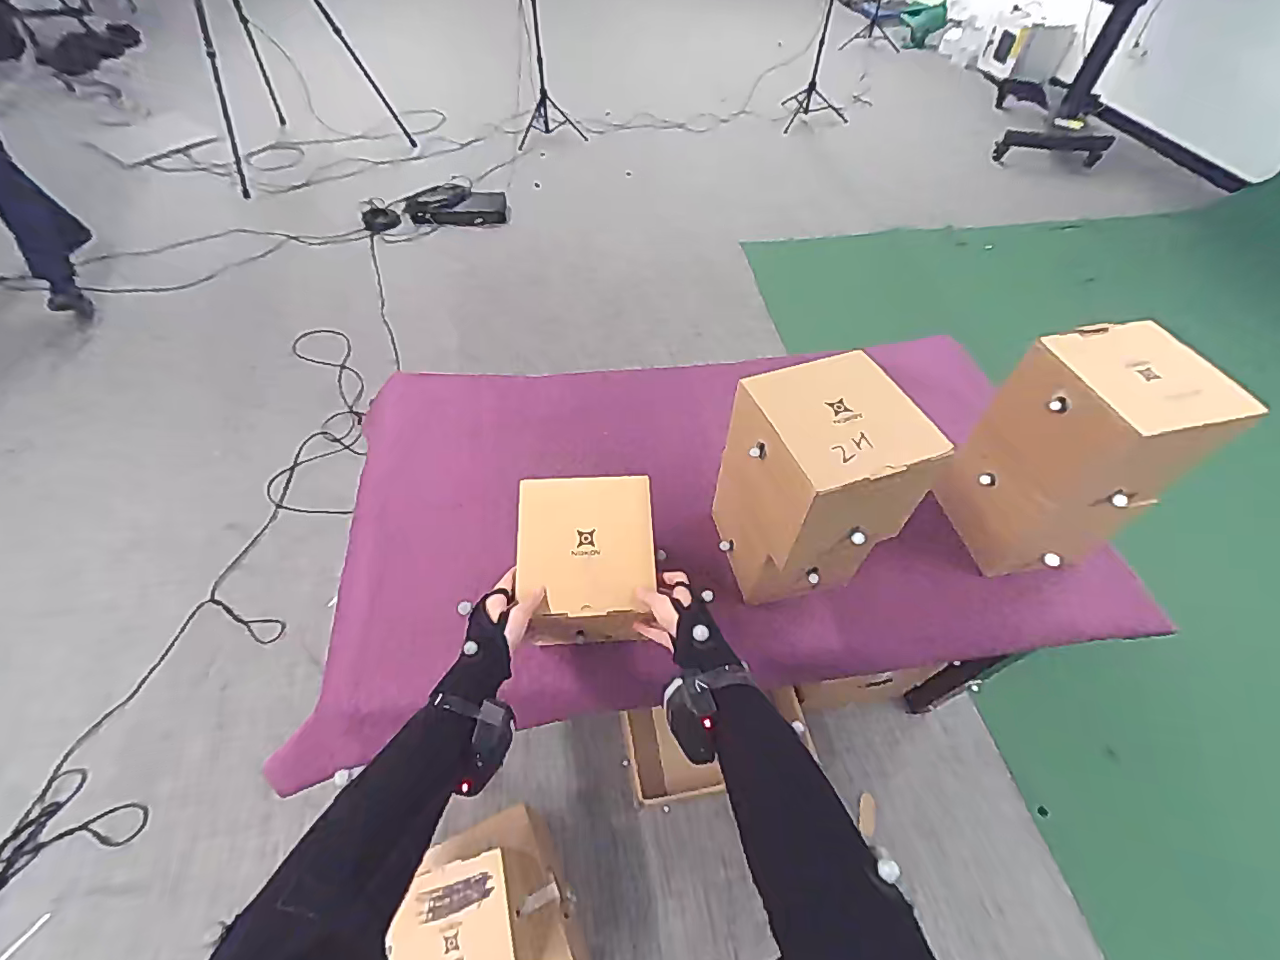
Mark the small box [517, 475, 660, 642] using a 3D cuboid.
[{"bbox_3d":[-0.067,0.109,0.723,0.168,0.176,0.179,-2,63,-4],"label":"small box"}]

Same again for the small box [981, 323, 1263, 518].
[{"bbox_3d":[0.594,-0.076,0.701,0.168,0.176,0.179,-10,52,-7],"label":"small box"}]

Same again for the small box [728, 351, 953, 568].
[{"bbox_3d":[0.219,-0.023,0.652,0.168,0.176,0.179,-16,54,-12],"label":"small box"}]

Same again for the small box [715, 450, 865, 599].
[{"bbox_3d":[0.220,0.060,0.798,0.168,0.176,0.179,-10,53,-9],"label":"small box"}]

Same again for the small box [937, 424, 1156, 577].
[{"bbox_3d":[0.599,0.025,0.829,0.168,0.176,0.179,-7,52,-6],"label":"small box"}]
